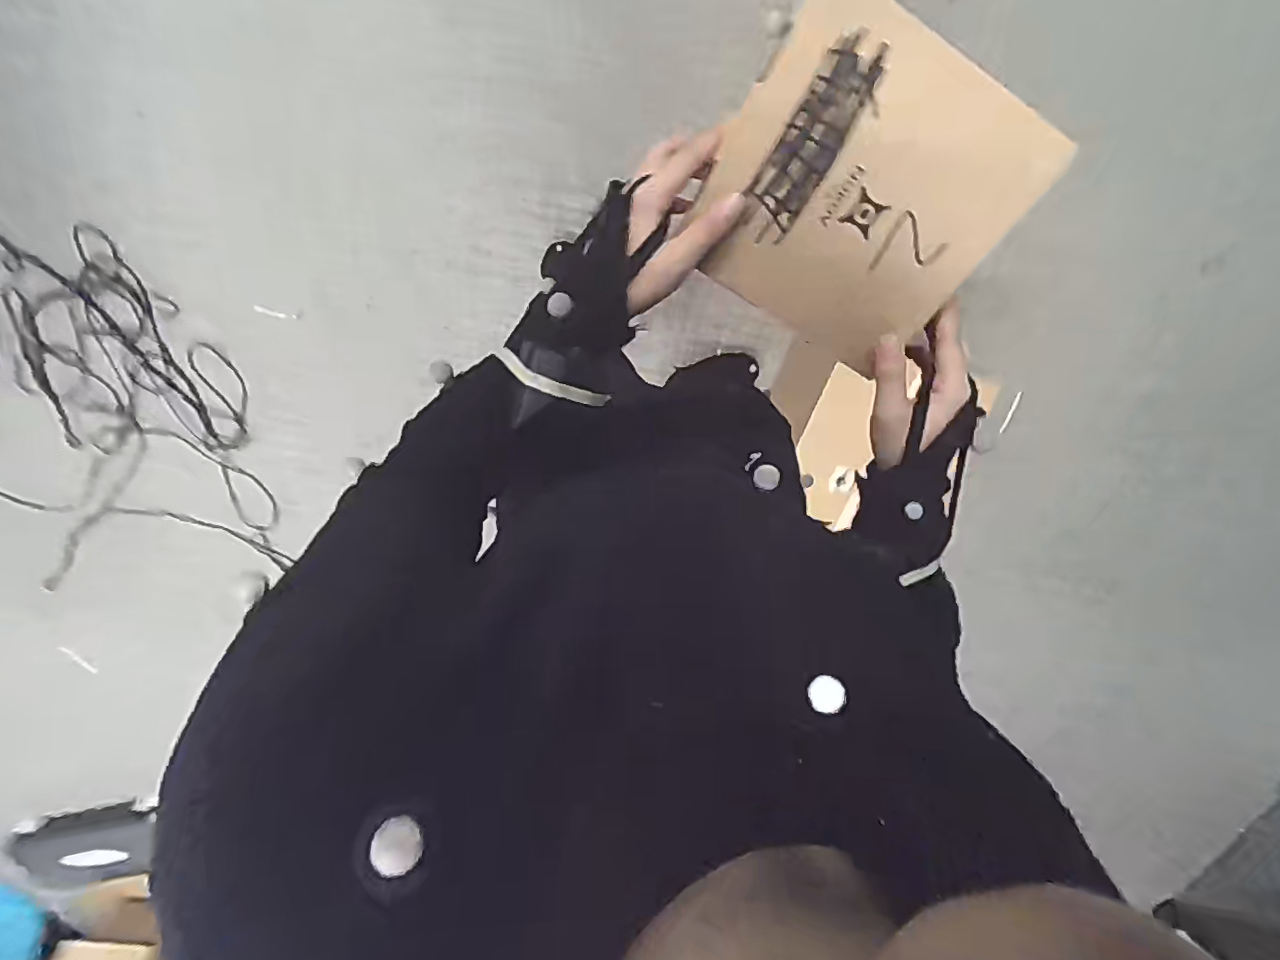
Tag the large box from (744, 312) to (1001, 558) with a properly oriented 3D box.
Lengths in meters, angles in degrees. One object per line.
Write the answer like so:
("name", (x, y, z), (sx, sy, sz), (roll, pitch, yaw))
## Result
("large box", (0.461, -0.110, 1.180), (0.320, 0.320, 0.408), (18, 114, -5))
